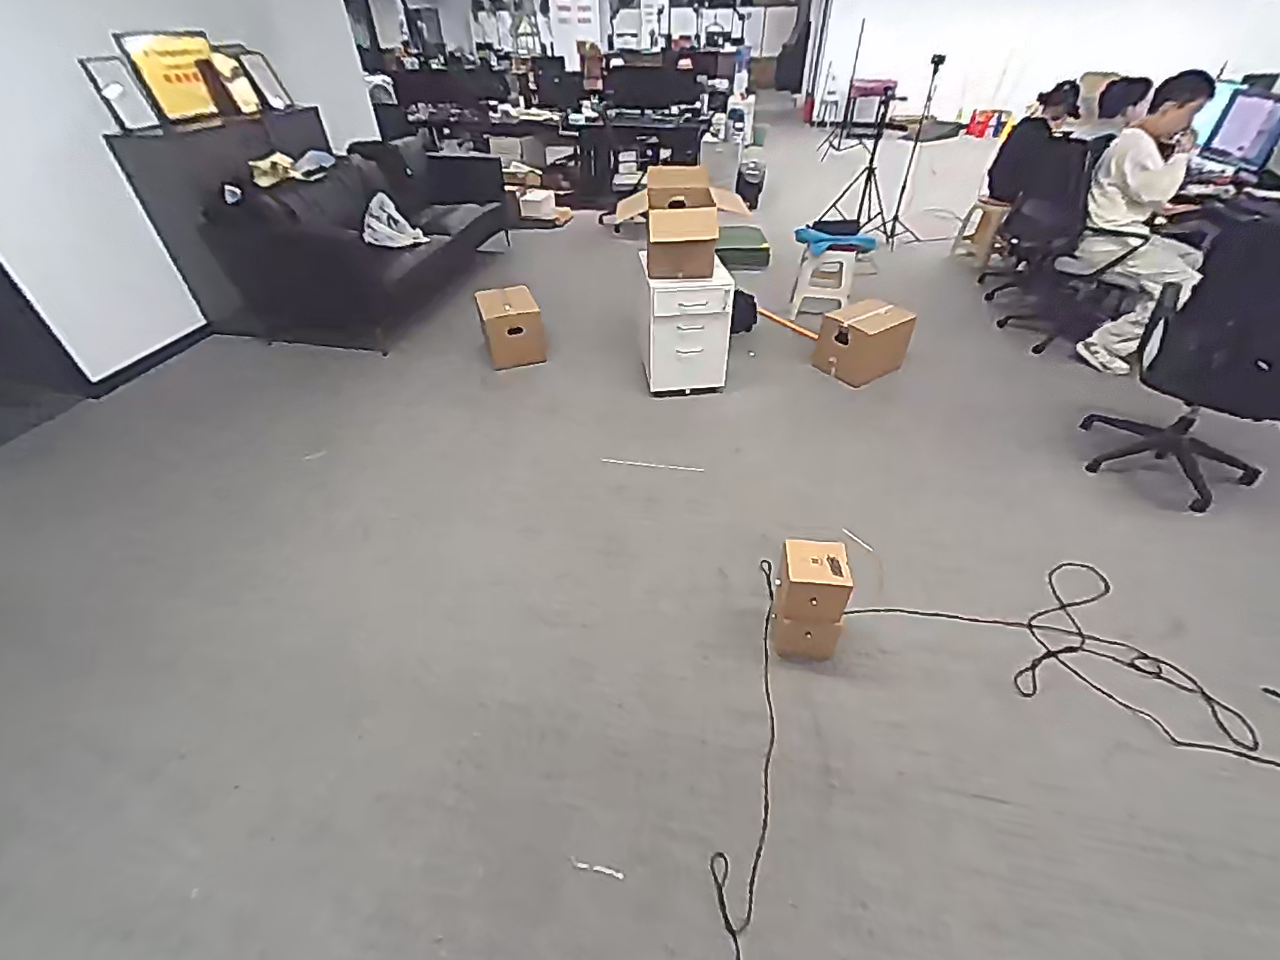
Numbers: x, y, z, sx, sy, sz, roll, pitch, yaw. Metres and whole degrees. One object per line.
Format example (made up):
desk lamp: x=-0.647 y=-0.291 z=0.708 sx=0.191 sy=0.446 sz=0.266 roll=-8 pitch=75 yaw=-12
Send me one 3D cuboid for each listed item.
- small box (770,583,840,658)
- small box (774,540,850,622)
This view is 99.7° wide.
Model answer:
small box: x=0.506 y=0.439 z=1.690 sx=0.179 sy=0.176 sz=0.168 roll=2 pitch=40 yaw=3
small box: x=0.502 y=0.301 z=1.601 sx=0.179 sy=0.176 sz=0.168 roll=3 pitch=39 yaw=7
